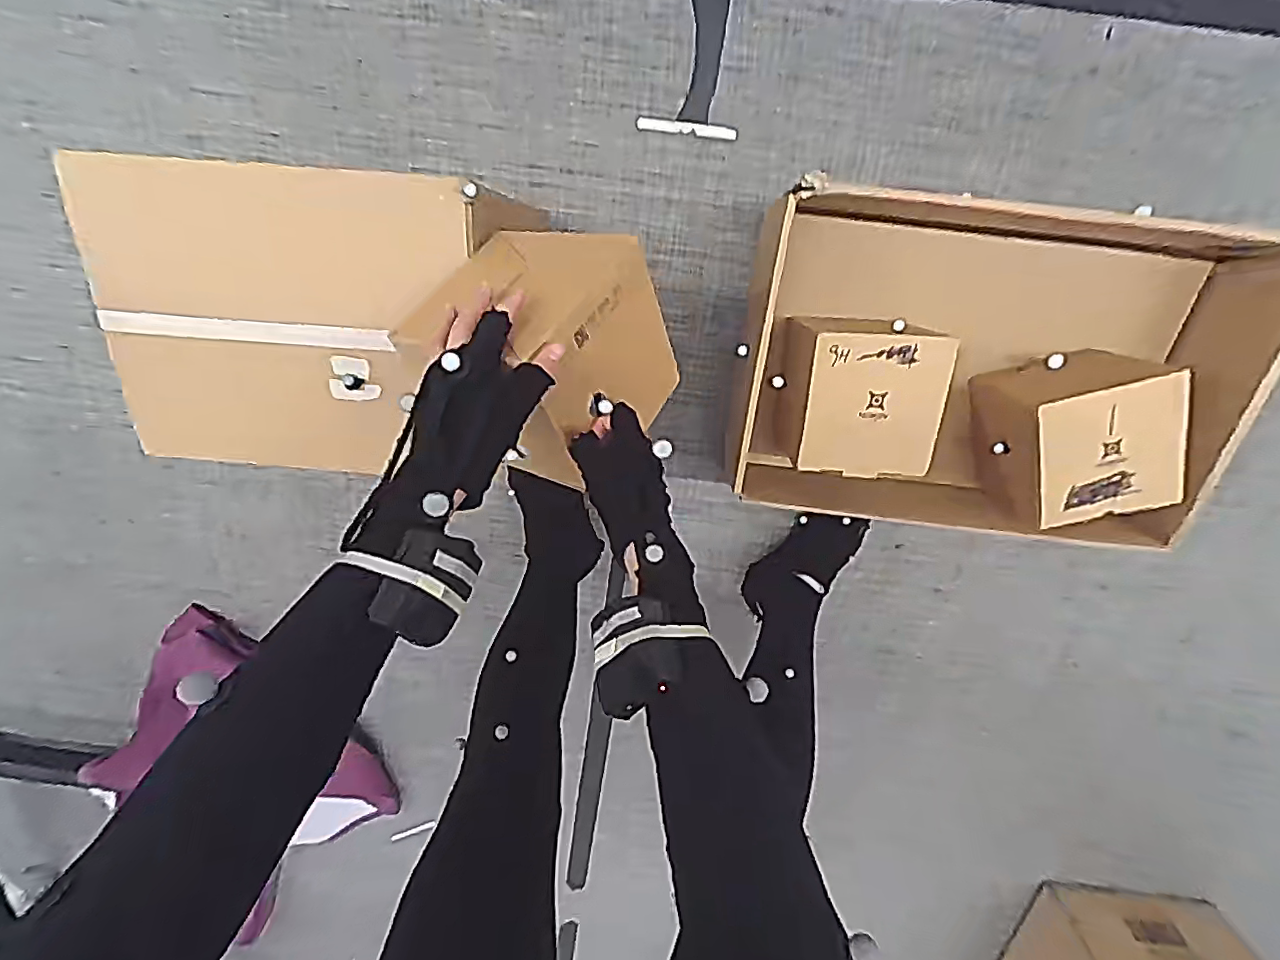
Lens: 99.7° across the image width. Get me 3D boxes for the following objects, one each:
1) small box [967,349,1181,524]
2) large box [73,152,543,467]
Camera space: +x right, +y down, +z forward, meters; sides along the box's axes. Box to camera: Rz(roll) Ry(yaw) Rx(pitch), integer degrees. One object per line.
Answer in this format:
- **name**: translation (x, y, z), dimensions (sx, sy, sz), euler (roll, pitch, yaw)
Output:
- **small box**: translation (0.579, -0.066, 0.746), dimensions (0.168, 0.176, 0.179), euler (-14, 110, 9)
- **large box**: translation (-0.358, -0.220, 0.713), dimensions (0.408, 0.320, 0.320), euler (4, 113, 1)
